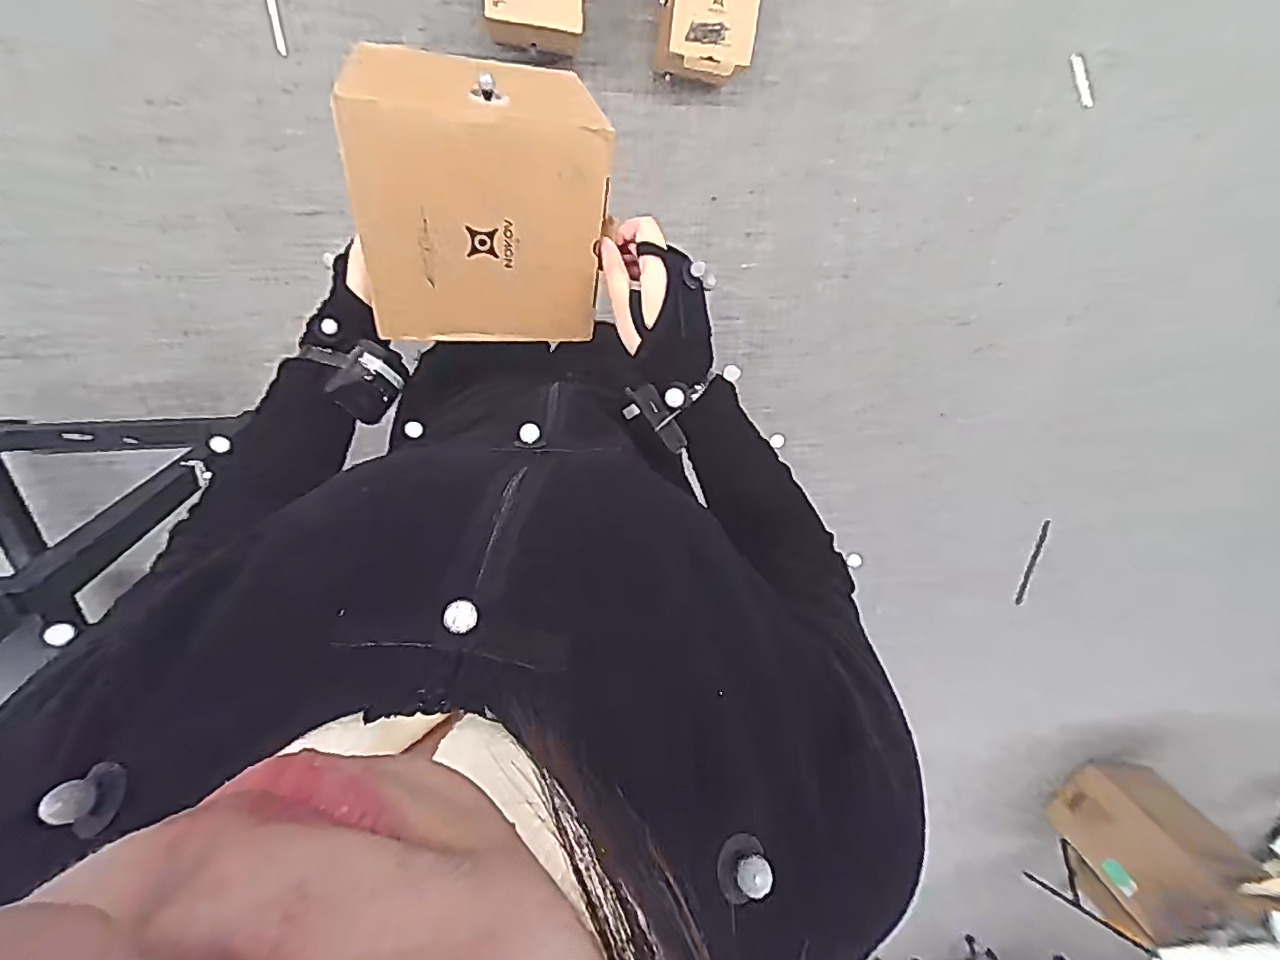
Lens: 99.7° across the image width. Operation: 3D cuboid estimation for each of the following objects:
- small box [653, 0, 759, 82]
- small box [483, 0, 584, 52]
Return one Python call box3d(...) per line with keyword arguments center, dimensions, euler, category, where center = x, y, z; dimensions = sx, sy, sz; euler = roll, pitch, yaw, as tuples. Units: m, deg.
box3d(center=(0.126, -0.919, 1.070), dimensions=(0.168, 0.176, 0.179), euler=(1, 115, -13), category="small box")
box3d(center=(-0.198, -0.922, 0.999), dimensions=(0.179, 0.176, 0.168), euler=(1, 116, -13), category="small box")
